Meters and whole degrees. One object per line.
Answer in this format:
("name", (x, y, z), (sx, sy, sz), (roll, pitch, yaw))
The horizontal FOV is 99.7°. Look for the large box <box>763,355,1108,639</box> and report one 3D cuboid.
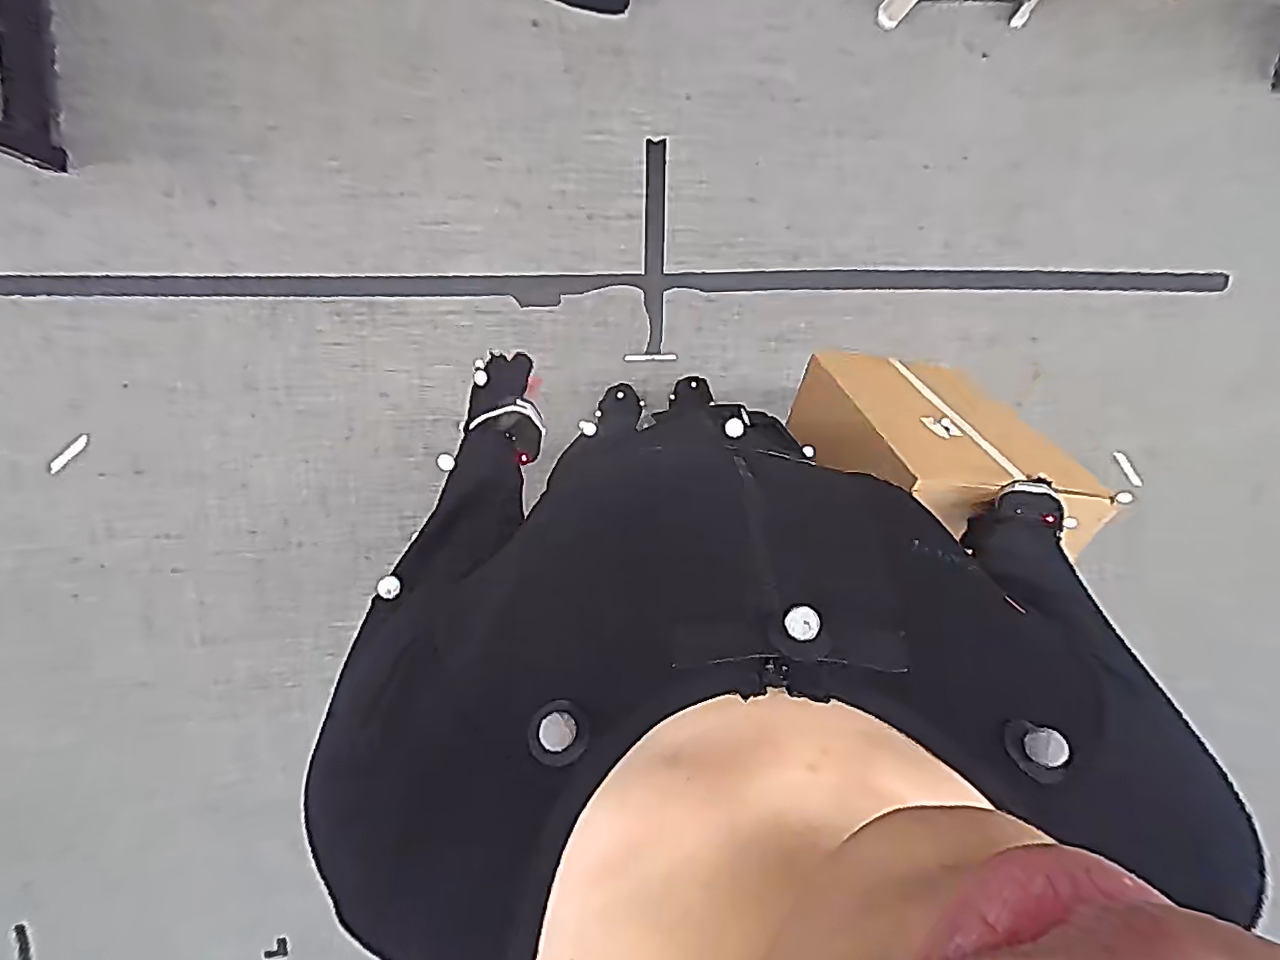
("large box", (0.459, 0.021, 0.967), (0.320, 0.408, 0.320), (5, 127, -10))
